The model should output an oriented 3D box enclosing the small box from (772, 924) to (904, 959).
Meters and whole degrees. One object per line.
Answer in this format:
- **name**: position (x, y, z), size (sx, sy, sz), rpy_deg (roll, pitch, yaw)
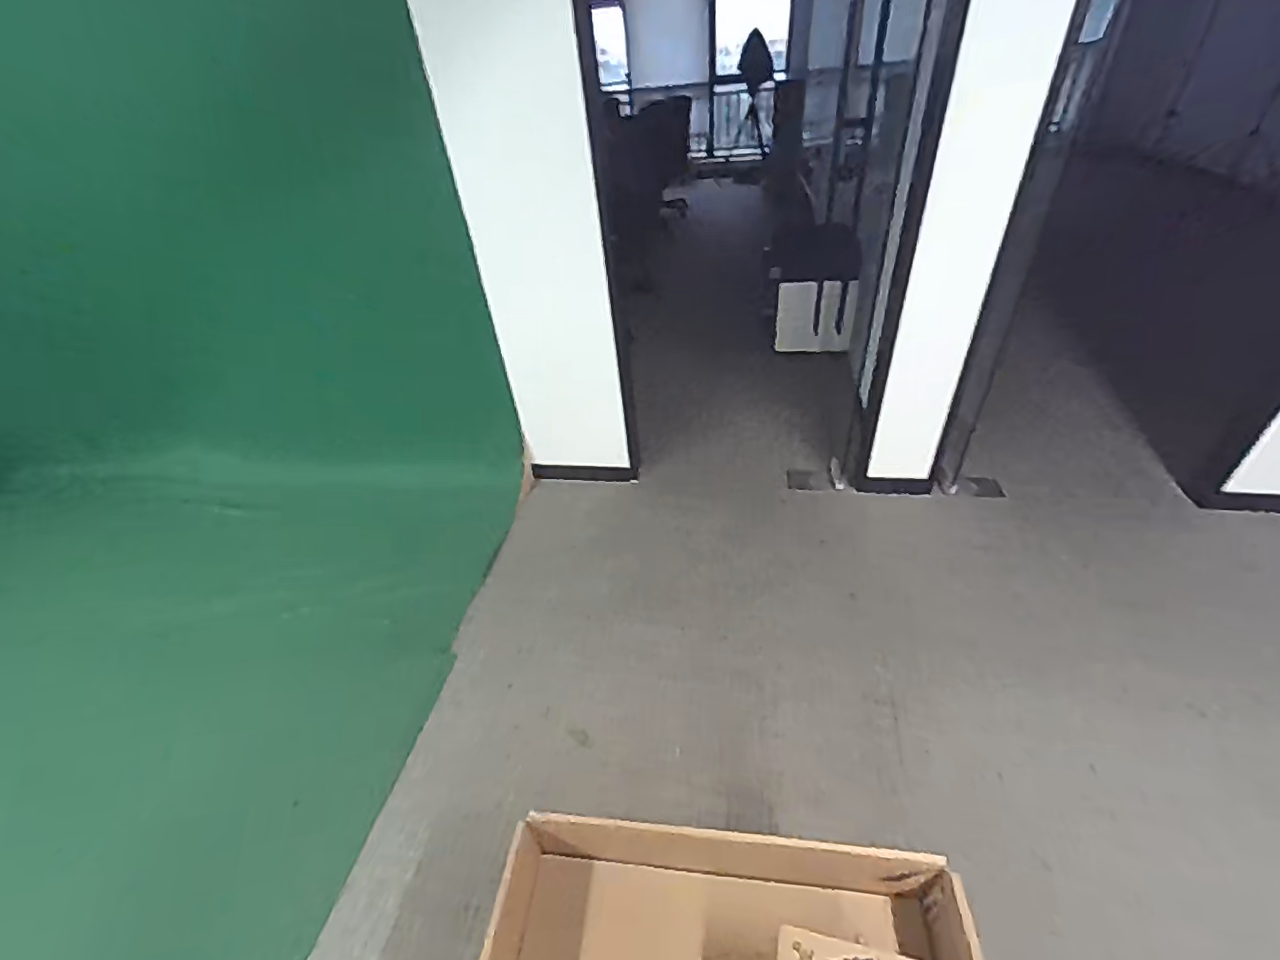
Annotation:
- **small box**: position (0.238, 0.674, 0.637), size (0.168, 0.176, 0.179), rpy_deg (6, 40, 13)
